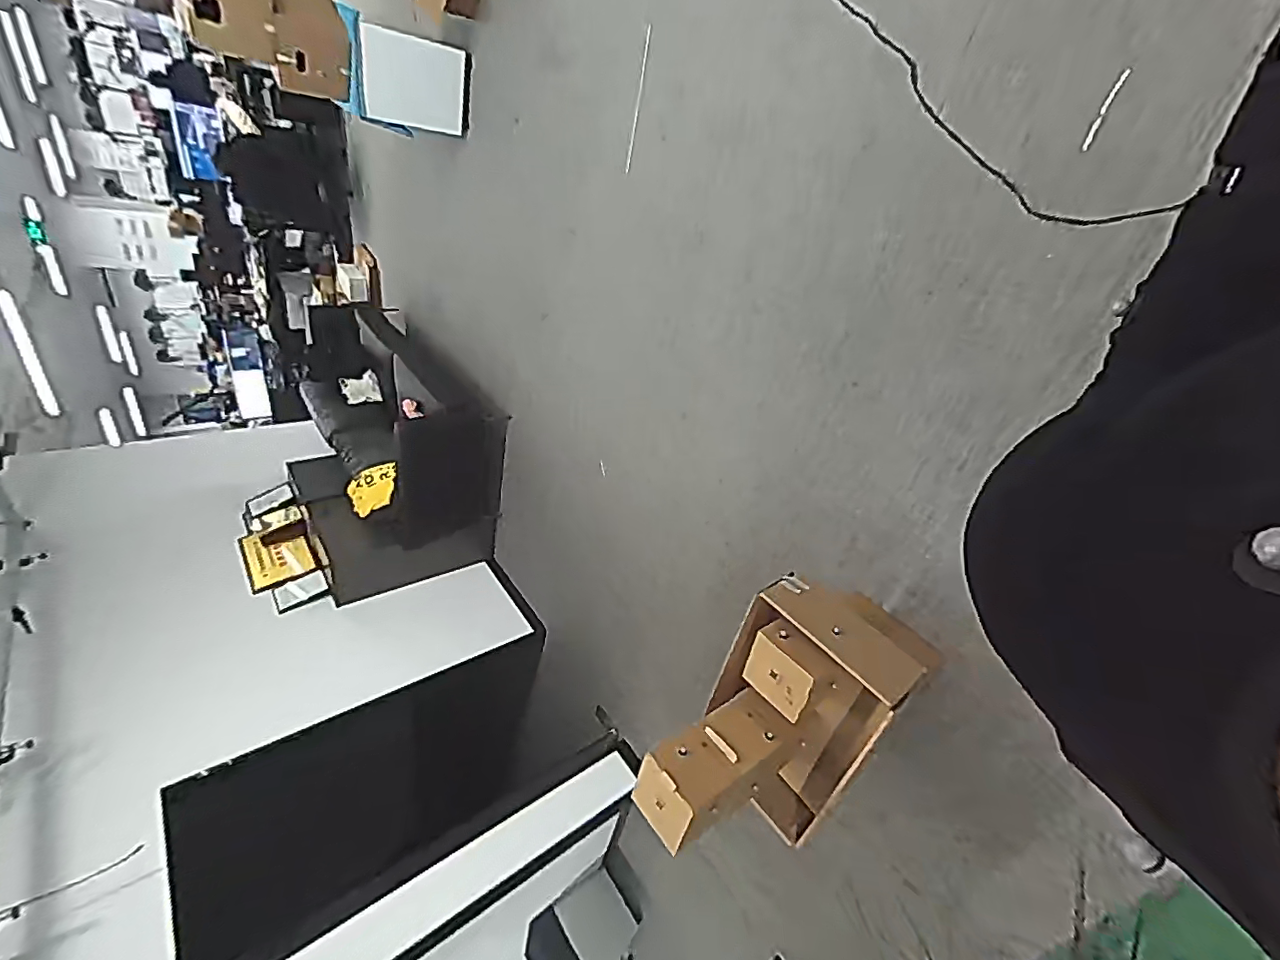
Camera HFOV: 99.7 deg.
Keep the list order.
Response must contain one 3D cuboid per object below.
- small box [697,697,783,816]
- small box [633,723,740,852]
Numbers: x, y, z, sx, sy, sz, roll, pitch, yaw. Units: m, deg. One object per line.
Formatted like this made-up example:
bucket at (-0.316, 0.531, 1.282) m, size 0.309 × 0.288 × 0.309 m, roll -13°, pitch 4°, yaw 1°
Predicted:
small box at (0.239, 0.695, 1.380) m, size 0.168 × 0.176 × 0.179 m, roll 35°, pitch 125°, yaw 40°
small box at (0.112, 0.717, 1.280) m, size 0.168 × 0.176 × 0.179 m, roll 39°, pitch 126°, yaw 39°
